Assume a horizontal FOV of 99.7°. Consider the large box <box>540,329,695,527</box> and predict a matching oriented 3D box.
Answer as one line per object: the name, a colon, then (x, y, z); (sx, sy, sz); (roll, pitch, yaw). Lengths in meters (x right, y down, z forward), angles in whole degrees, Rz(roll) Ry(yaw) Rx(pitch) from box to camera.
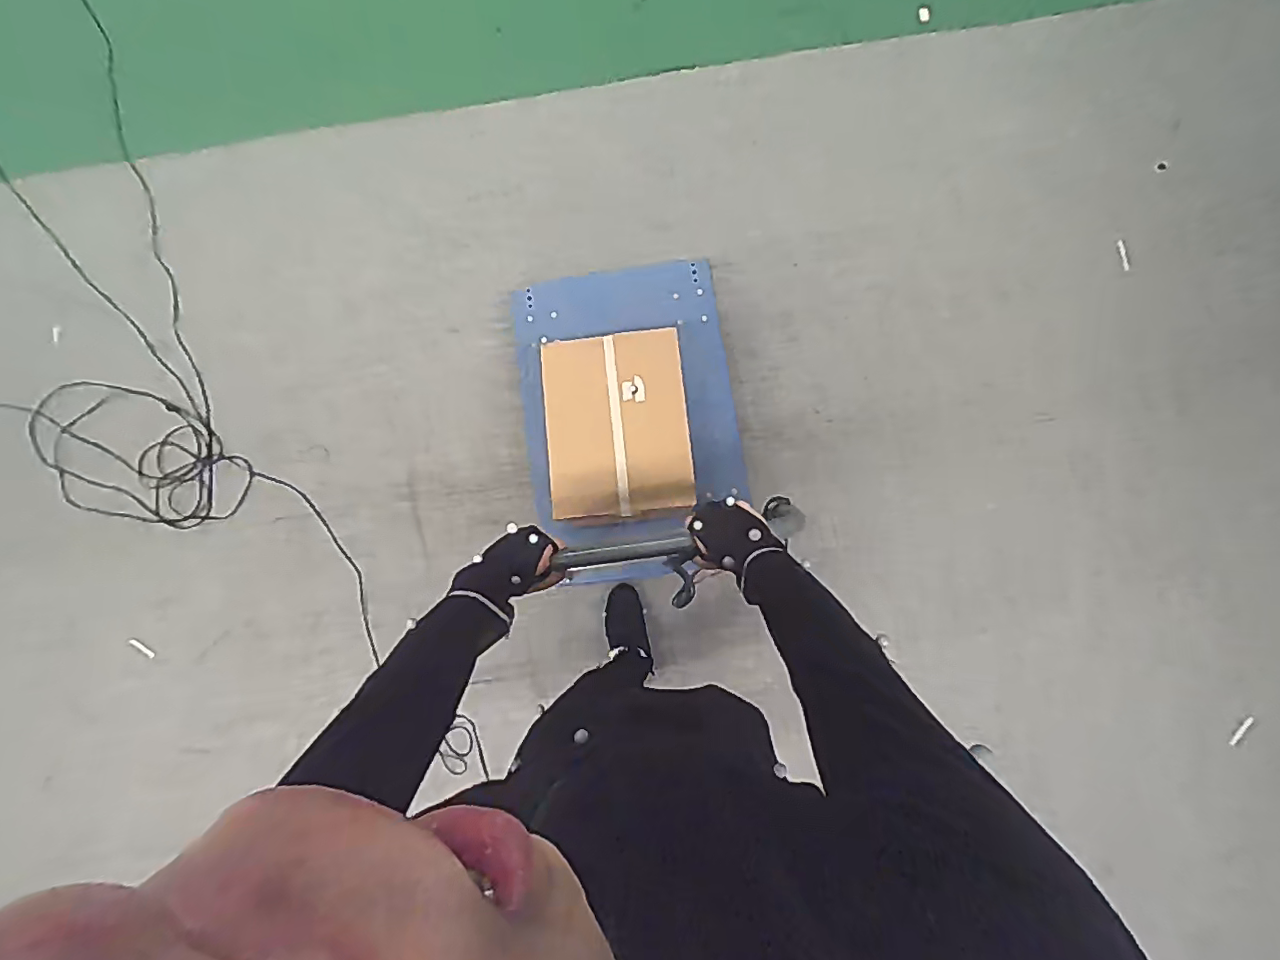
large box: (-0.046, -0.107, 1.341); (0.320, 0.320, 0.408); (-6, 81, 2)
